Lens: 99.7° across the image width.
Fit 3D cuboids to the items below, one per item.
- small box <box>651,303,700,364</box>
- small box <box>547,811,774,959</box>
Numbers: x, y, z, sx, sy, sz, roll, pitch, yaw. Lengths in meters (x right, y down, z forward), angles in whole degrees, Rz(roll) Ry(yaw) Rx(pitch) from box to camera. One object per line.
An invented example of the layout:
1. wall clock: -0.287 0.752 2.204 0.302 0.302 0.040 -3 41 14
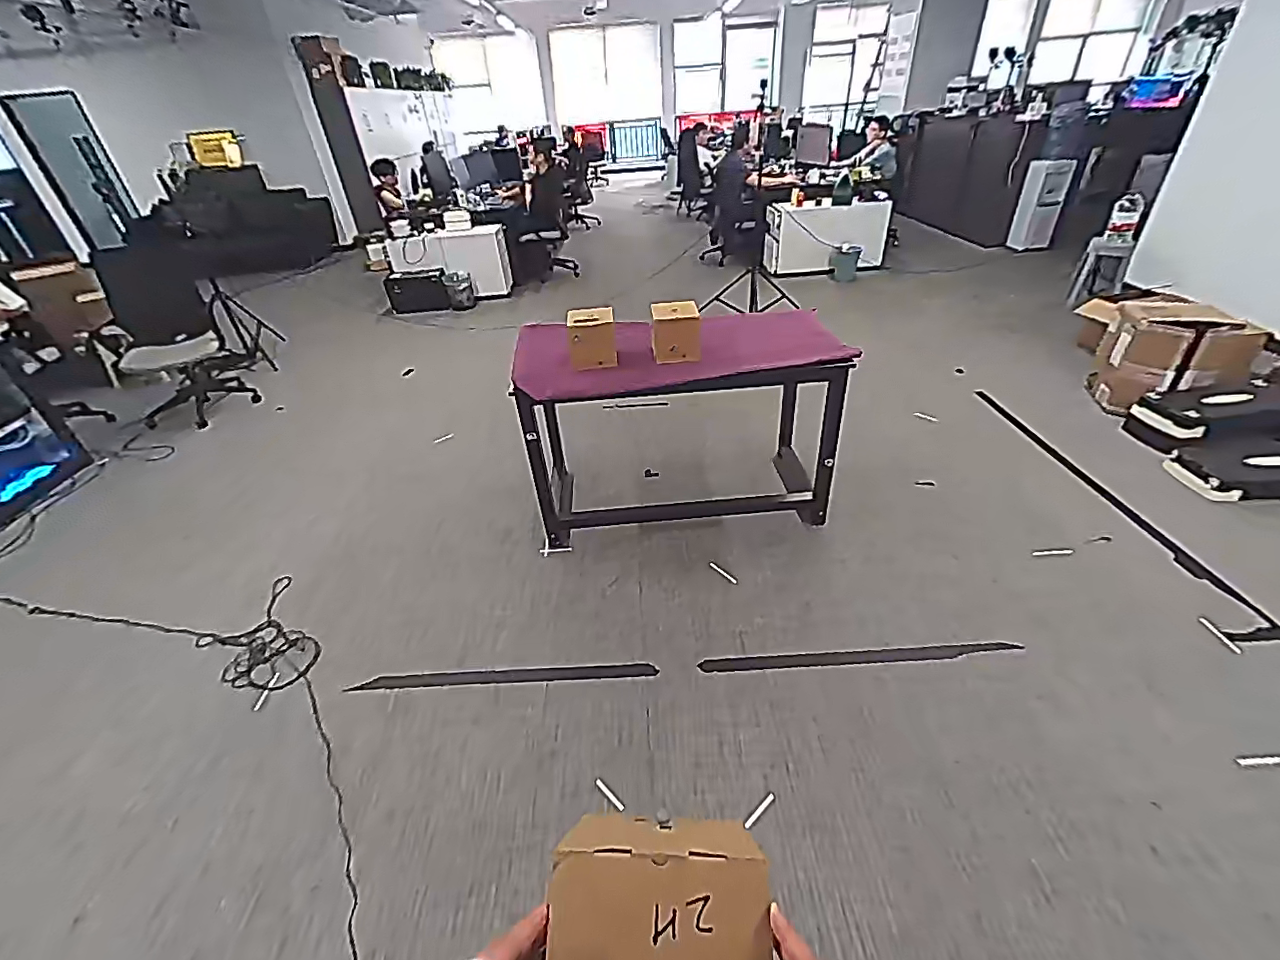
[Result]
1. small box: 0.130 -0.542 2.005 0.168 0.176 0.179 -5 35 0
2. small box: 0.019 0.393 0.451 0.168 0.176 0.179 0 65 3
